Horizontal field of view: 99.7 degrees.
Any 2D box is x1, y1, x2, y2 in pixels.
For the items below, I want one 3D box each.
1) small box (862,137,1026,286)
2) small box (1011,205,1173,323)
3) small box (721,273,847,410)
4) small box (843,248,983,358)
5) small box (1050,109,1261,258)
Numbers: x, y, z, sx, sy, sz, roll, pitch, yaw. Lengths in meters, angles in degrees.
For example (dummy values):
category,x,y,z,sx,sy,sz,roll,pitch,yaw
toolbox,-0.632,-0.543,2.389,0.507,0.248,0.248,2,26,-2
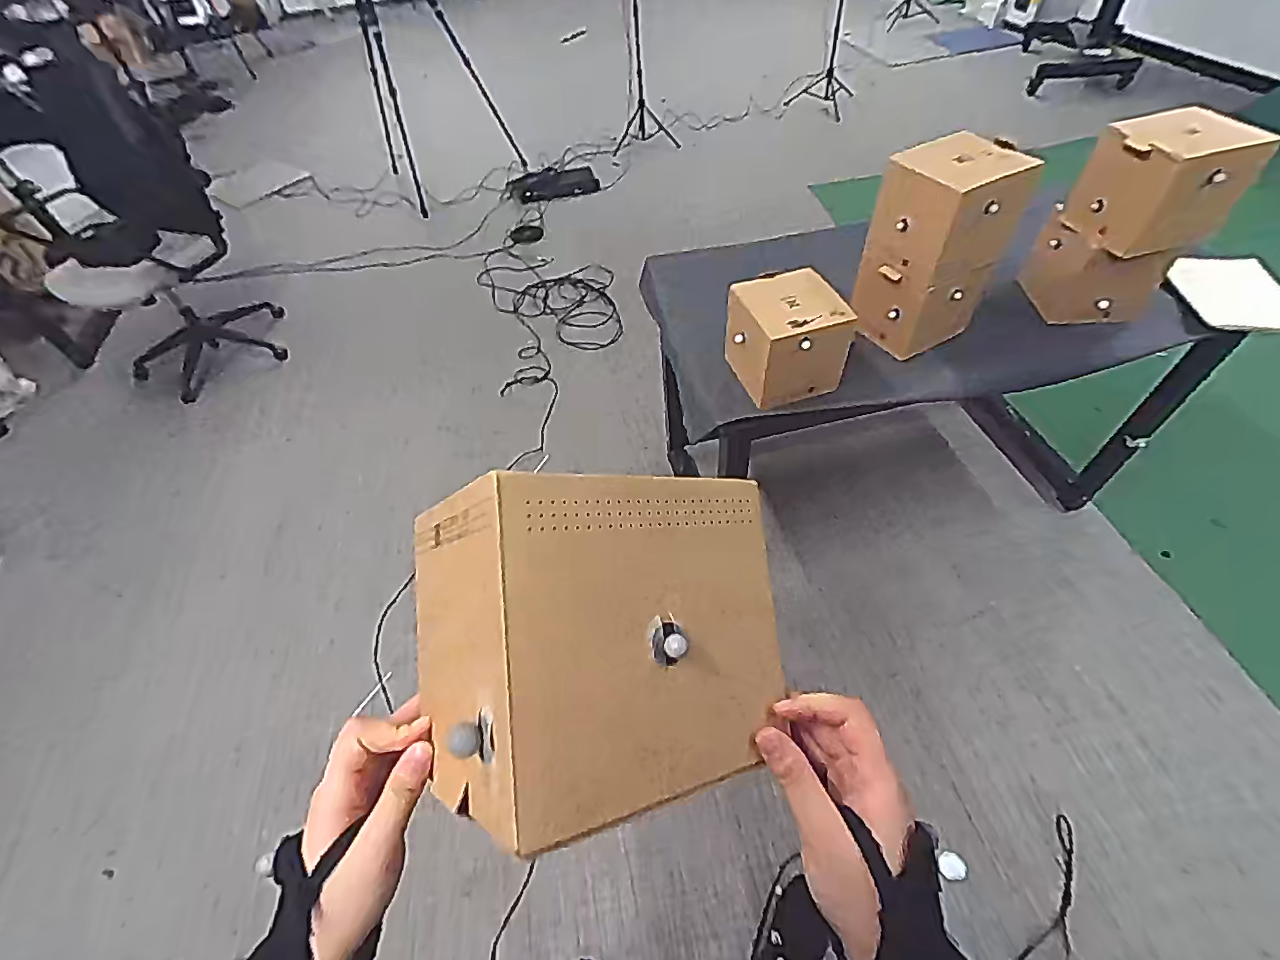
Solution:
category,x,y,z,sx,sy,sz,roll,pitch,yaw
small box,0.524,-0.475,0.966,0.179,0.176,0.168,-24,54,-13
small box,0.903,-0.442,1.107,0.168,0.176,0.179,-1,52,6
small box,0.262,-0.263,1.034,0.168,0.176,0.179,-17,52,-8
small box,0.536,-0.376,1.097,0.179,0.176,0.168,-26,54,-15
small box,0.897,-0.525,0.964,0.179,0.176,0.168,-14,51,-4
